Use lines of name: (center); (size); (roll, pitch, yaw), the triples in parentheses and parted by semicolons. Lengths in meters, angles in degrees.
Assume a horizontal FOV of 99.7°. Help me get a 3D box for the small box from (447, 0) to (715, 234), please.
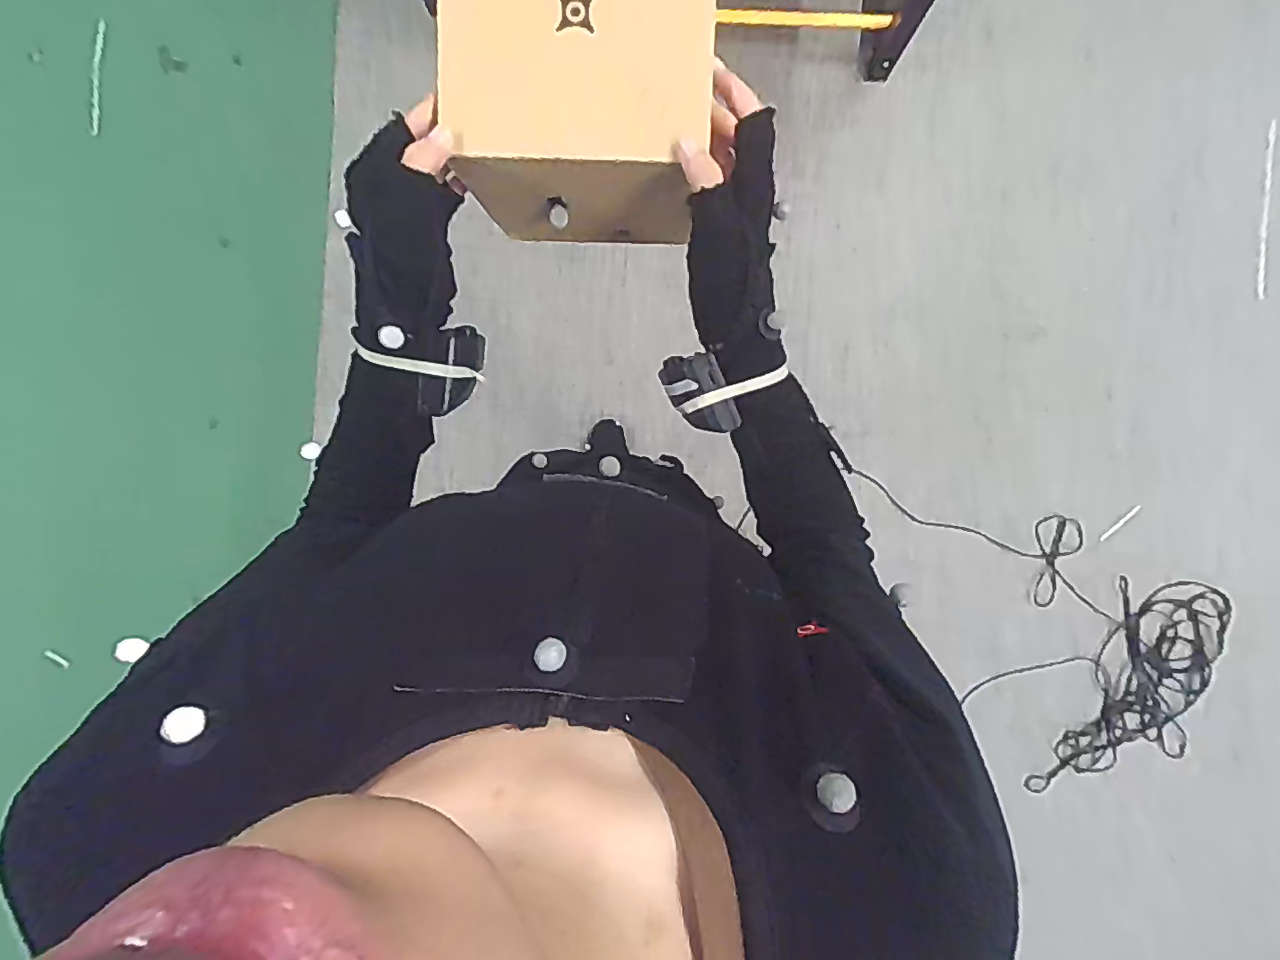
small box: (-0.033, -0.297, 0.404); (0.168, 0.176, 0.179); (1, 97, 1)
